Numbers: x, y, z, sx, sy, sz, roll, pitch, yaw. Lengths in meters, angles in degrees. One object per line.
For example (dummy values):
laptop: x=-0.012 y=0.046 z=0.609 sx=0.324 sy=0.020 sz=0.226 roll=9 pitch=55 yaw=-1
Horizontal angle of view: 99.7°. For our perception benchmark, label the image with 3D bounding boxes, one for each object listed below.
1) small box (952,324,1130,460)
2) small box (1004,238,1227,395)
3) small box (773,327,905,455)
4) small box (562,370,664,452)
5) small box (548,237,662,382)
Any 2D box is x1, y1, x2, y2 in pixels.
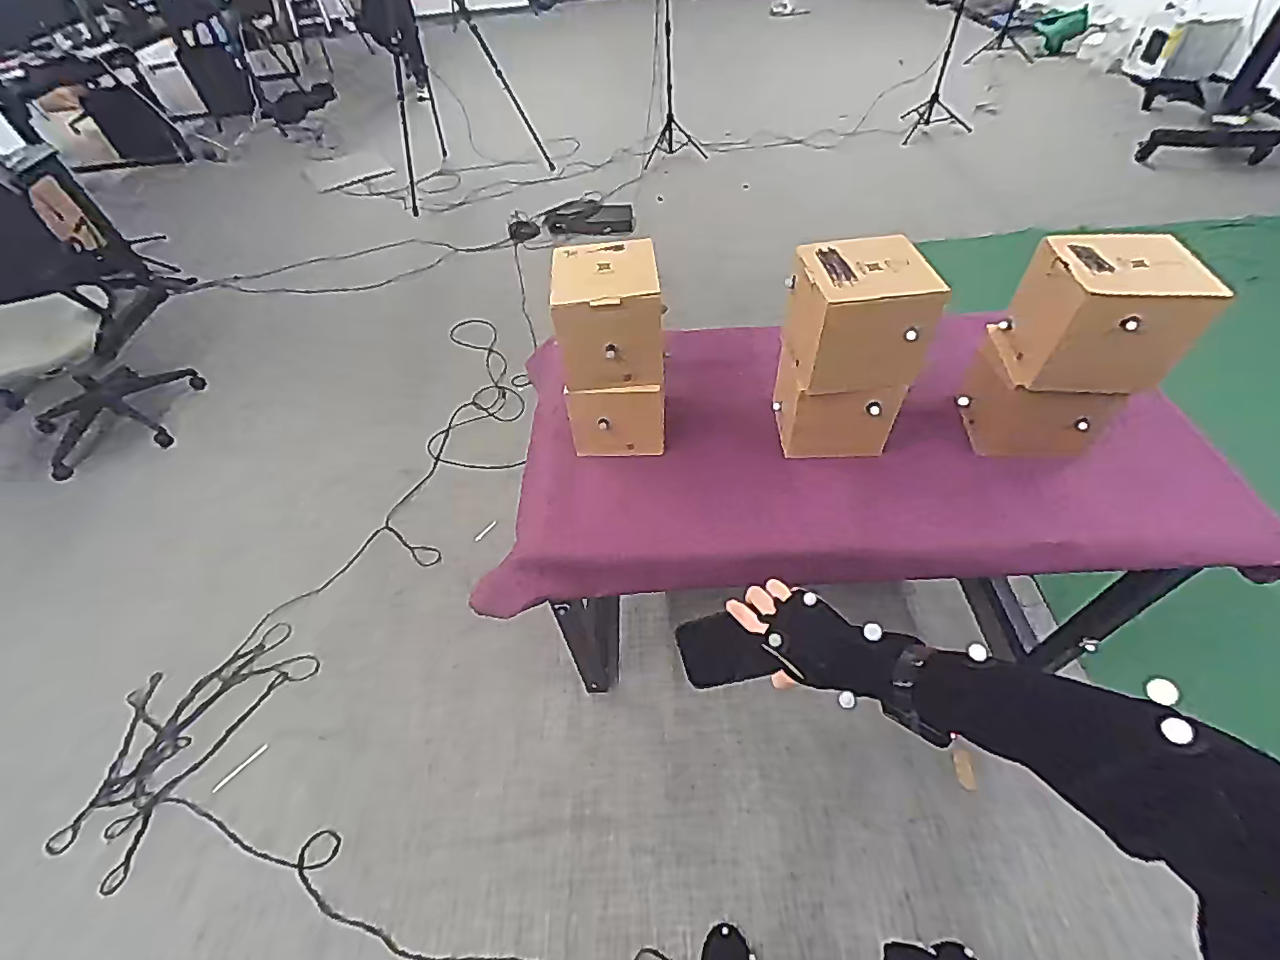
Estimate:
small box: x=0.686 y=-0.151 z=0.949 sx=0.179 sy=0.176 sz=0.168 roll=4 pitch=51 yaw=8
small box: x=0.683 y=-0.243 z=0.813 sx=0.179 sy=0.176 sz=0.168 roll=4 pitch=51 yaw=7
small box: x=0.347 y=-0.157 z=0.982 sx=0.179 sy=0.176 sz=0.168 roll=-1 pitch=51 yaw=4
small box: x=-0.041 y=-0.166 z=1.025 sx=0.168 sy=0.176 sz=0.179 roll=0 pitch=51 yaw=5
small box: x=-0.052 y=-0.277 z=0.903 sx=0.168 sy=0.176 sz=0.179 roll=-4 pitch=51 yaw=1
